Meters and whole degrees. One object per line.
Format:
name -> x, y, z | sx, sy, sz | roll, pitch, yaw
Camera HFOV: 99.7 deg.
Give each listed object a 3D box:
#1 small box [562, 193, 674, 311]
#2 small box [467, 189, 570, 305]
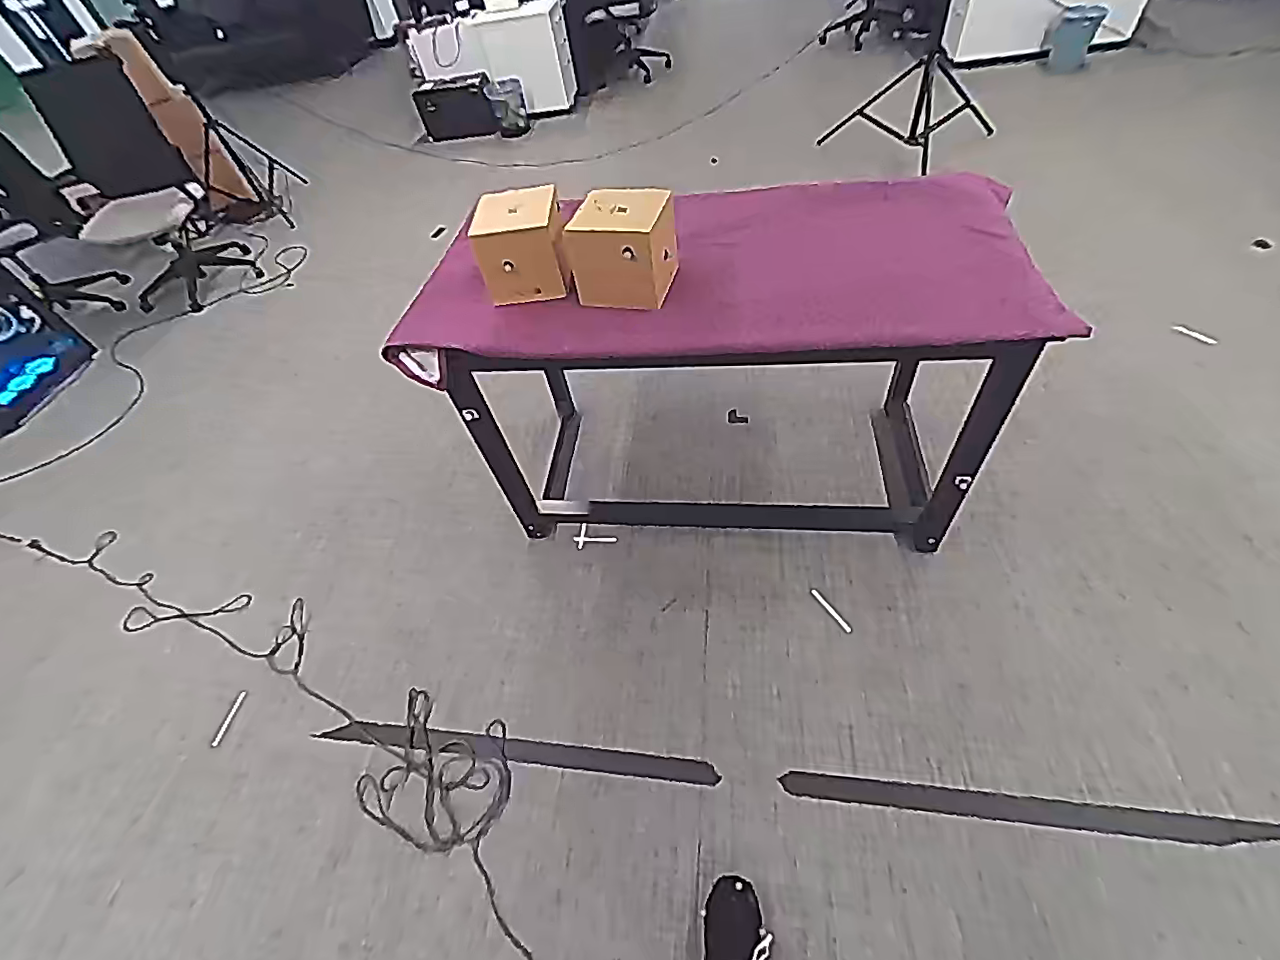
small box -> -0.034, -0.467, 1.113 | 0.179, 0.176, 0.168 | 8, 53, 16
small box -> -0.254, -0.500, 1.180 | 0.168, 0.176, 0.179 | -6, 51, 5
